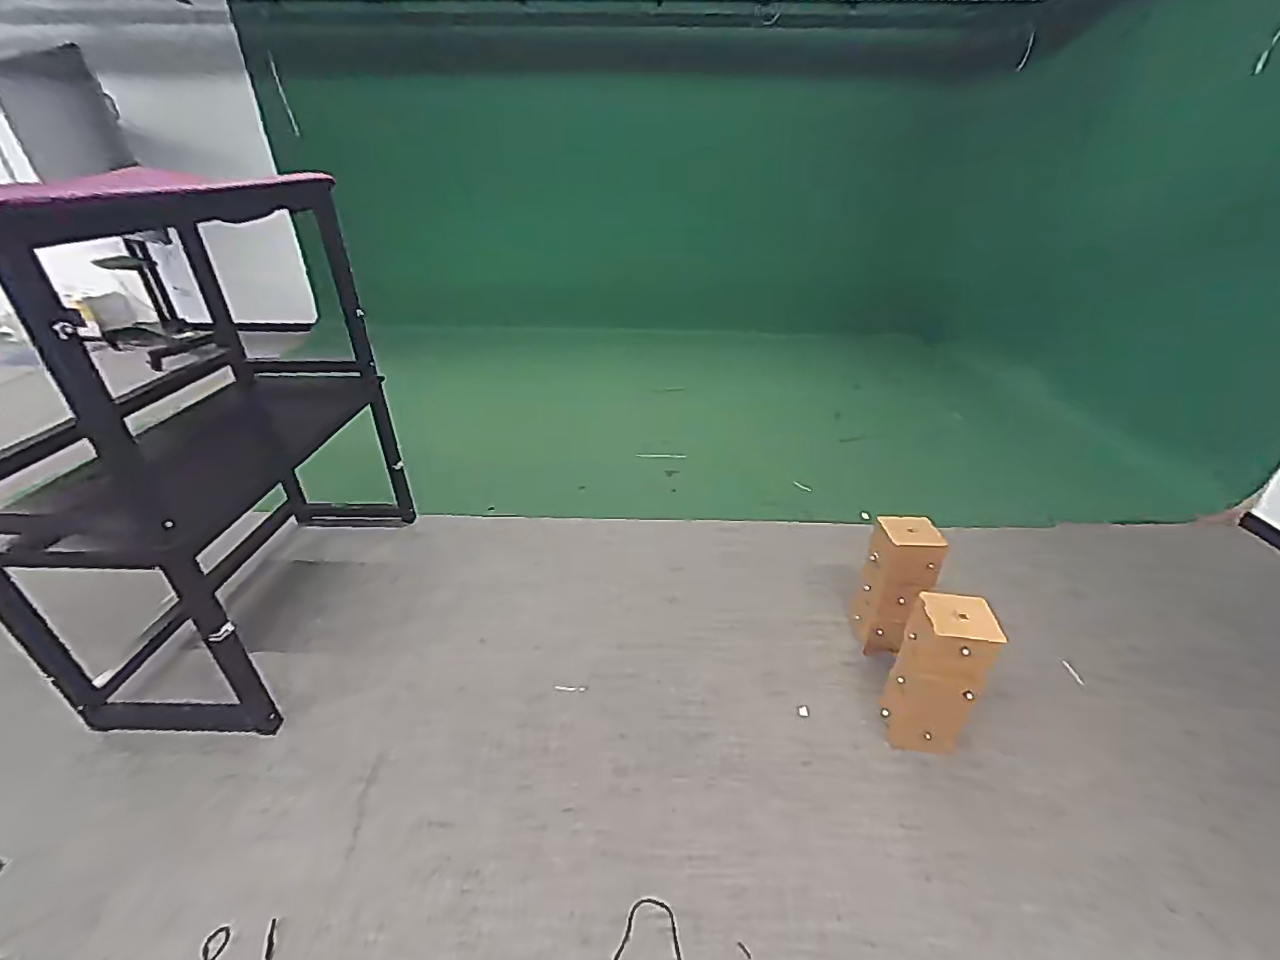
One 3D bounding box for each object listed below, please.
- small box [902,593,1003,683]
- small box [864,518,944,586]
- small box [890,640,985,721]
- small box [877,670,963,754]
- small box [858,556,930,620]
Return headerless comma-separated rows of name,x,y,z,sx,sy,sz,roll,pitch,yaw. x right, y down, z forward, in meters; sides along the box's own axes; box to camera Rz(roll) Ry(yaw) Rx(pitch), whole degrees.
small box,0.860,0.441,1.506,0.179,0.176,0.168,4,32,7
small box,0.886,0.244,1.830,0.179,0.176,0.168,0,30,0
small box,0.863,0.582,1.587,0.179,0.176,0.168,3,31,5
small box,0.859,0.721,1.676,0.179,0.176,0.168,4,31,7
small box,0.889,0.382,1.917,0.179,0.176,0.168,0,31,-1
